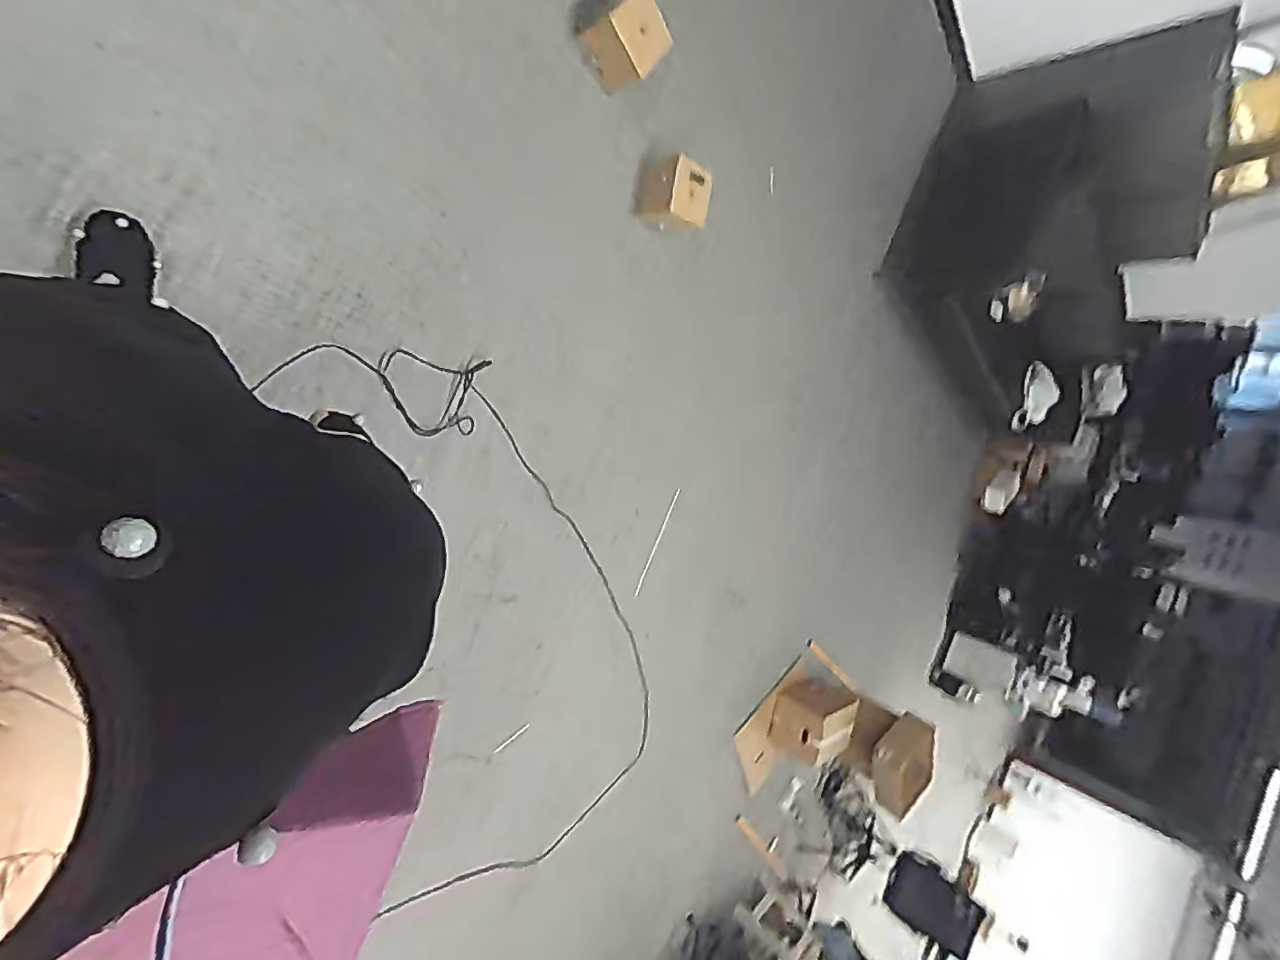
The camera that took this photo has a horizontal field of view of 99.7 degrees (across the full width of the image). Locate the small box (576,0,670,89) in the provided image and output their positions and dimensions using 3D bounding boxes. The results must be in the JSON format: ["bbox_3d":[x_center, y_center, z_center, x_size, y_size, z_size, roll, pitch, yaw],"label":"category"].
[{"bbox_3d":[-0.051,-1.277,1.551,0.168,0.176,0.179,45,72,-41],"label":"small box"}]

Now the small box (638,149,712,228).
[{"bbox_3d":[0.112,-0.960,1.797,0.168,0.176,0.179,2,102,-42],"label":"small box"}]
